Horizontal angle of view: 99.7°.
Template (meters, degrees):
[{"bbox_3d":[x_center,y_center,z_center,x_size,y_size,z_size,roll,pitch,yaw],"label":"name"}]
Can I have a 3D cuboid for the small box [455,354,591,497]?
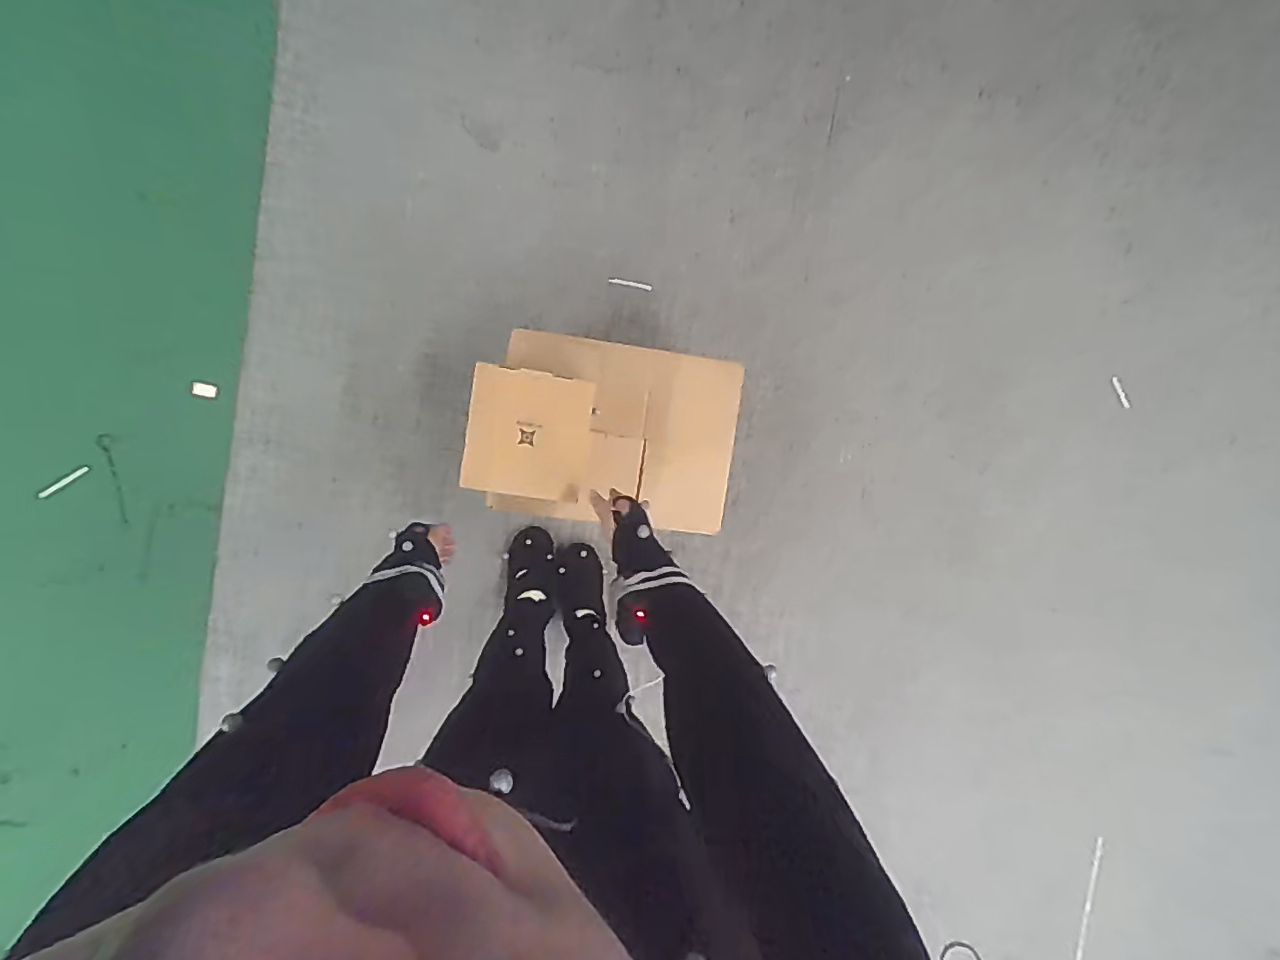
[{"bbox_3d":[-0.170,-0.082,0.825,0.168,0.176,0.179,9,95,-9],"label":"small box"}]
